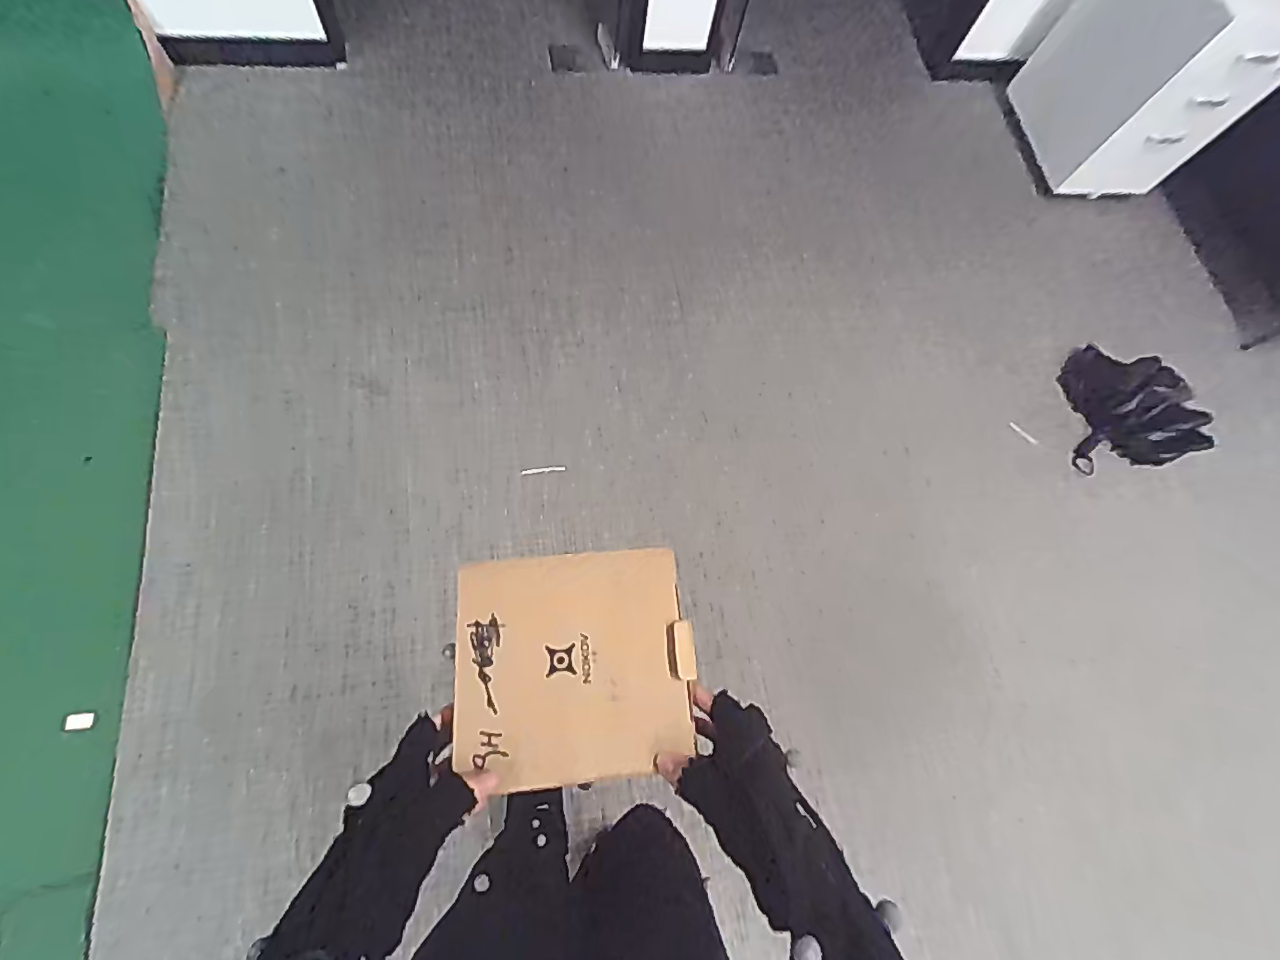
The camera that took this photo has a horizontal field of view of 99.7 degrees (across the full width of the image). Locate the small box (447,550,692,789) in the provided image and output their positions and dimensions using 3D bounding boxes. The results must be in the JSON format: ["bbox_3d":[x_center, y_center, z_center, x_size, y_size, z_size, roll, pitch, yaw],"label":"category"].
[{"bbox_3d":[-0.059,0.167,0.485,0.179,0.176,0.168,-3,67,-5],"label":"small box"}]
